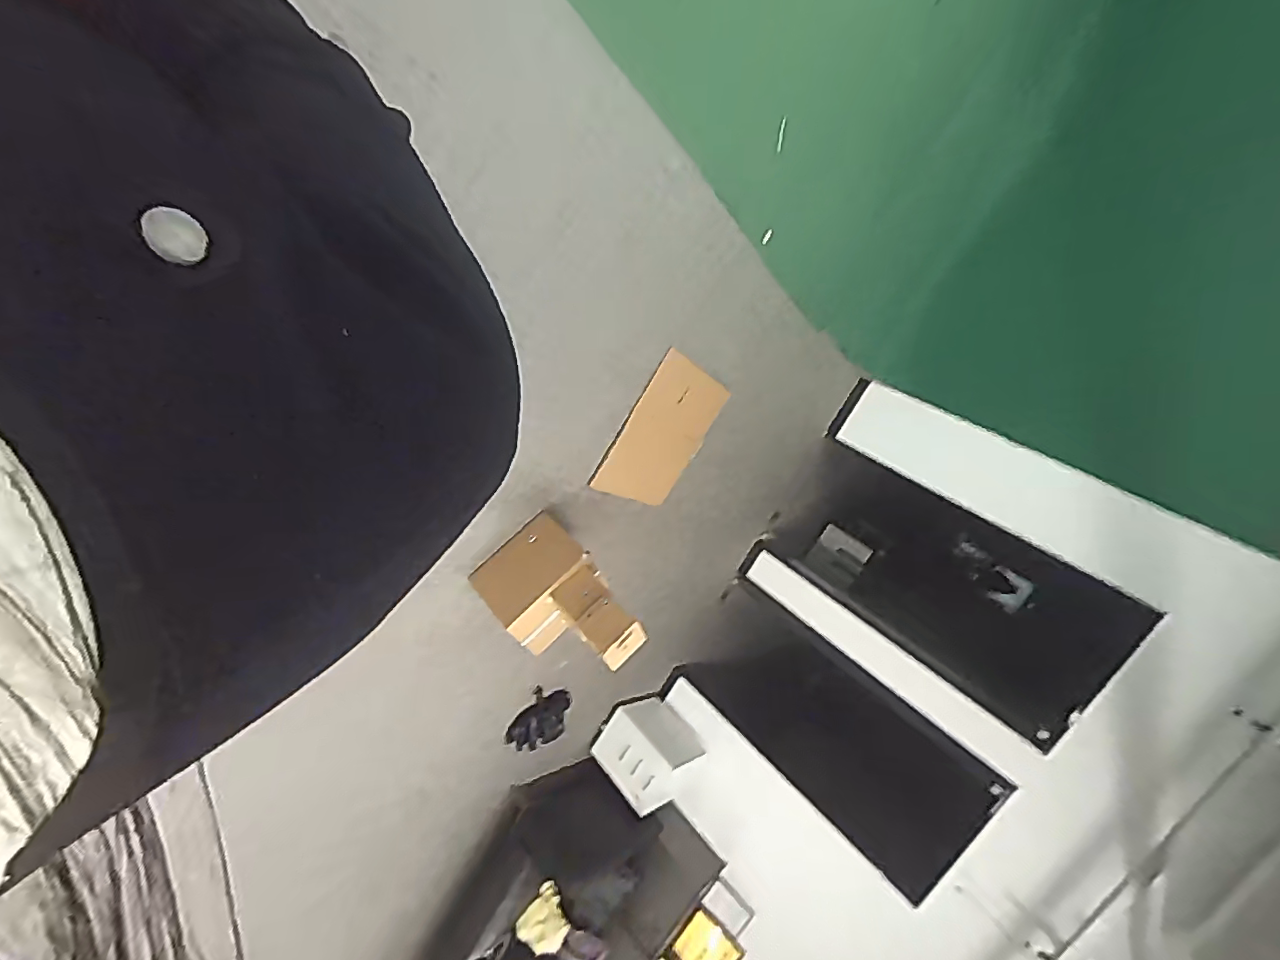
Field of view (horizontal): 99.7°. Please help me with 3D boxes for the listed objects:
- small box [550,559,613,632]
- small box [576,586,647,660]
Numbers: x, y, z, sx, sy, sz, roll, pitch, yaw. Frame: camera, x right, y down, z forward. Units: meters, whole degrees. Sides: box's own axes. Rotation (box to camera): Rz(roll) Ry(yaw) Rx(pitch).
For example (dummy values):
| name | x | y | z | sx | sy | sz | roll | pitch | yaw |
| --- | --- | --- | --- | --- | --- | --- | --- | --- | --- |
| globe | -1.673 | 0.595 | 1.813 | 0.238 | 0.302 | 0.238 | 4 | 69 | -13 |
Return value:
| name | x | y | z | sx | sy | sz | roll | pitch | yaw |
| --- | --- | --- | --- | --- | --- | --- | --- | --- | --- |
| small box | -0.213 | 0.436 | 2.062 | 0.179 | 0.176 | 0.168 | -39 | 145 | -18 |
| small box | -0.105 | 0.512 | 1.958 | 0.168 | 0.176 | 0.179 | -43 | 144 | -13 |
